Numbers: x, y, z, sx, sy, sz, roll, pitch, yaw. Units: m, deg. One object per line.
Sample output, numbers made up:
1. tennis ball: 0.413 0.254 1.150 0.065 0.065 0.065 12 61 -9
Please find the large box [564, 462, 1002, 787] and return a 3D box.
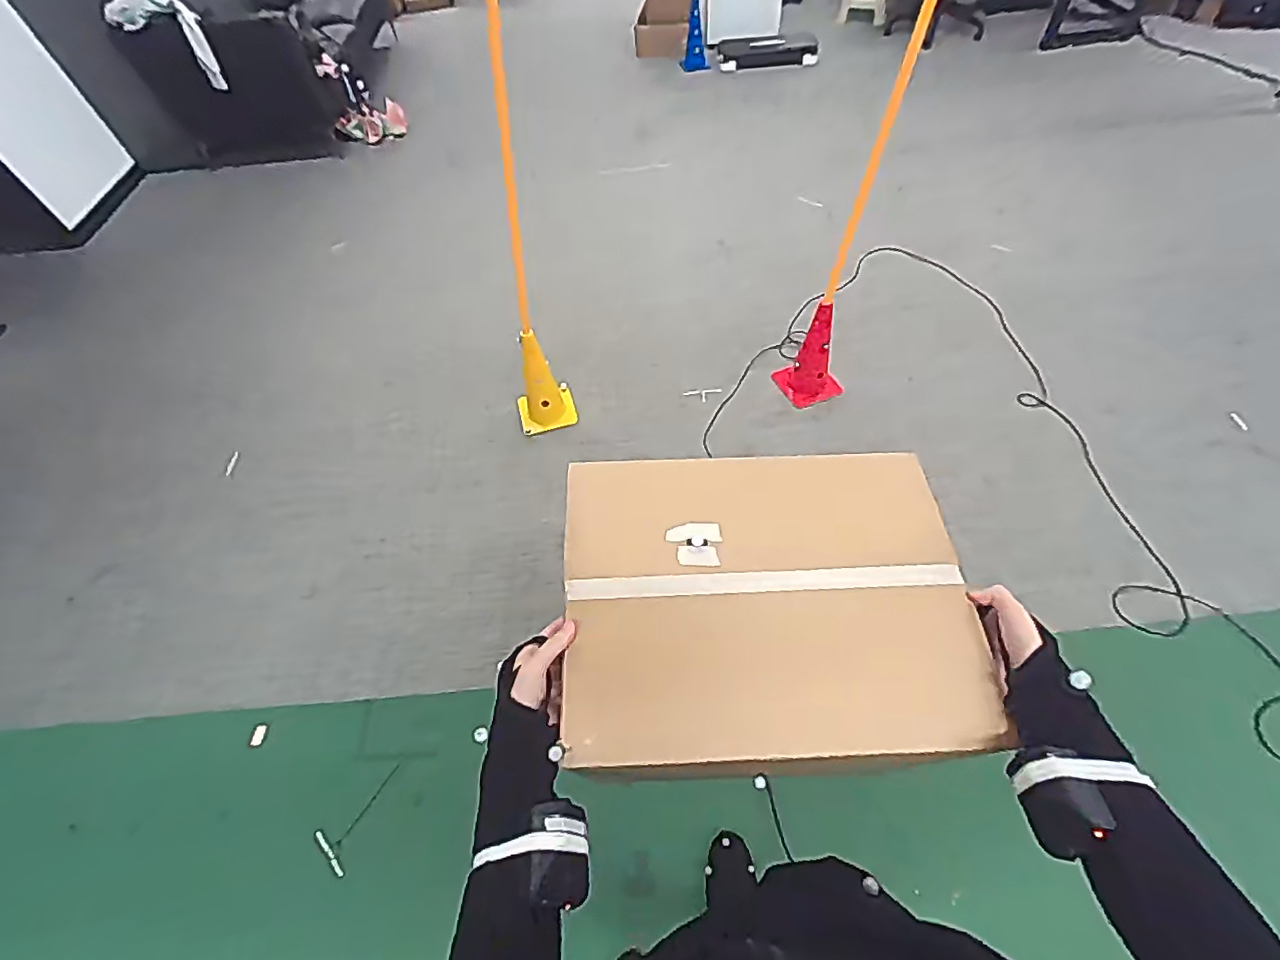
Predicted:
1. large box: 0.126 0.197 0.685 0.408 0.320 0.320 -3 57 -1
